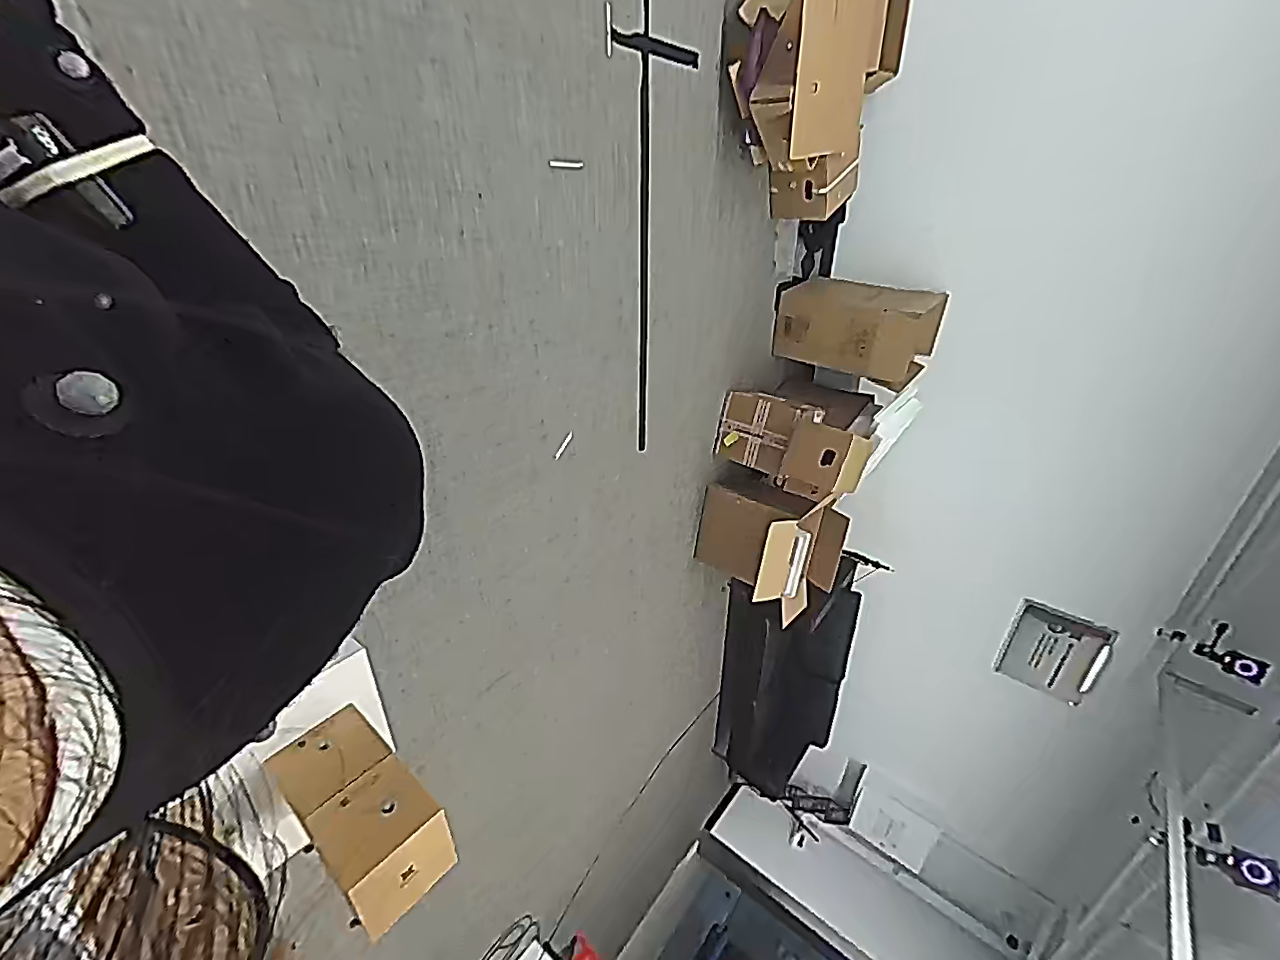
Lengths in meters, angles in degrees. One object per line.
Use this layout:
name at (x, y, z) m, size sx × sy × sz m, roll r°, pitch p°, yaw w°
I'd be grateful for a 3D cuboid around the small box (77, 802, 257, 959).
small box at (-0.734, 0.654, 0.854) m, size 0.168 × 0.176 × 0.179 m, roll -30°, pitch 130°, yaw -45°

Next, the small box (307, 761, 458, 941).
small box at (-0.450, 0.633, 0.950) m, size 0.168 × 0.176 × 0.179 m, roll -31°, pitch 133°, yaw -43°

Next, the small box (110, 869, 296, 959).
small box at (-0.606, 0.714, 0.771) m, size 0.168 × 0.176 × 0.179 m, roll -30°, pitch 131°, yaw -46°

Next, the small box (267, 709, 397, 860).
small box at (-0.575, 0.584, 1.041) m, size 0.168 × 0.176 × 0.179 m, roll -32°, pitch 132°, yaw -42°
